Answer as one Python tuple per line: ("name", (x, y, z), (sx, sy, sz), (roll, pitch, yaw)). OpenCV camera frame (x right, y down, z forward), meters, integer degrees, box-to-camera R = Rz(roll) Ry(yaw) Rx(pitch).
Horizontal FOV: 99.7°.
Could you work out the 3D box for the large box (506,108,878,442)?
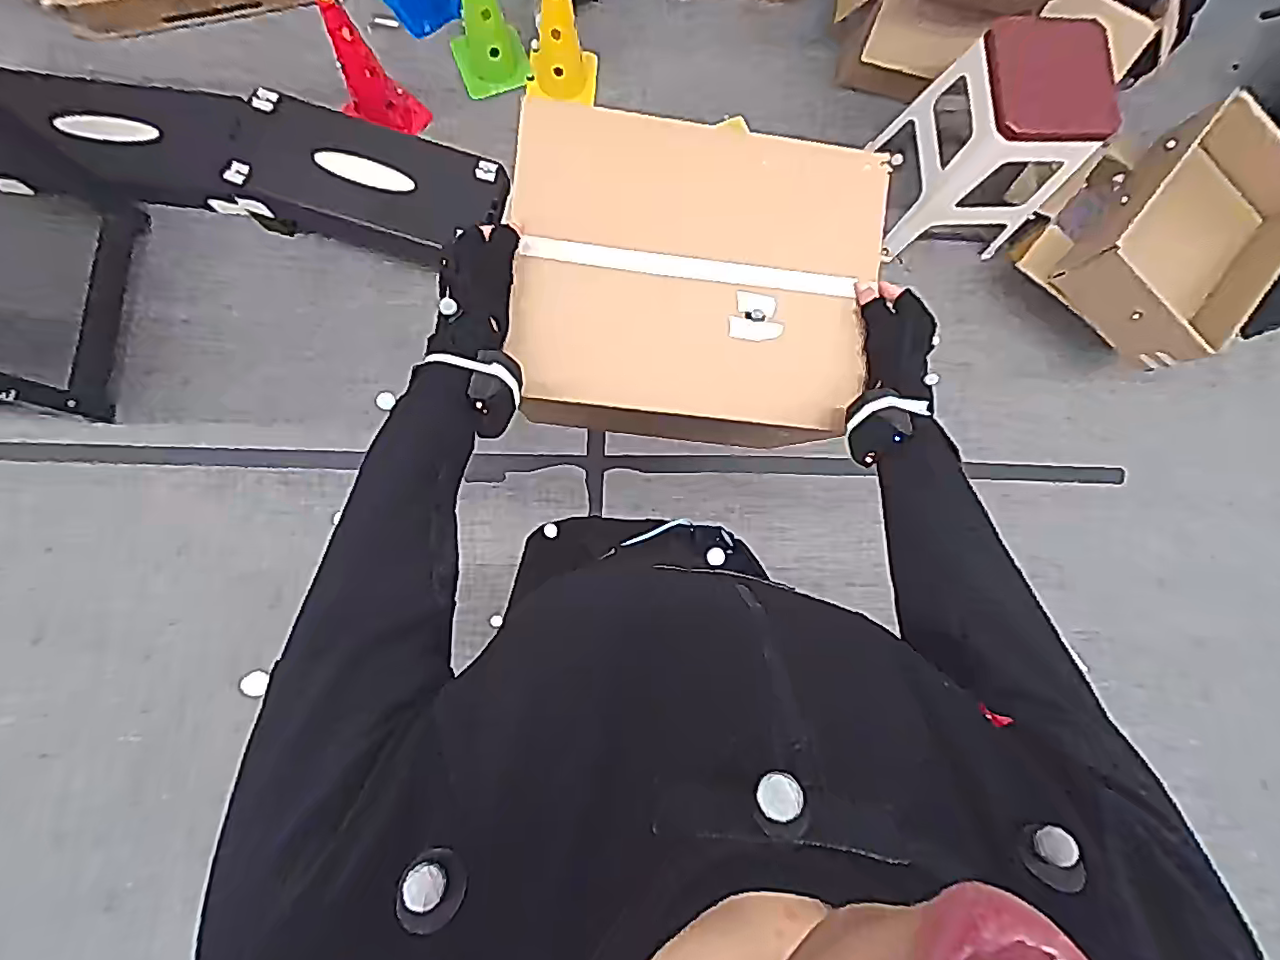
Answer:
("large box", (0.048, -0.232, 0.743), (0.408, 0.320, 0.320), (6, 90, -6))
